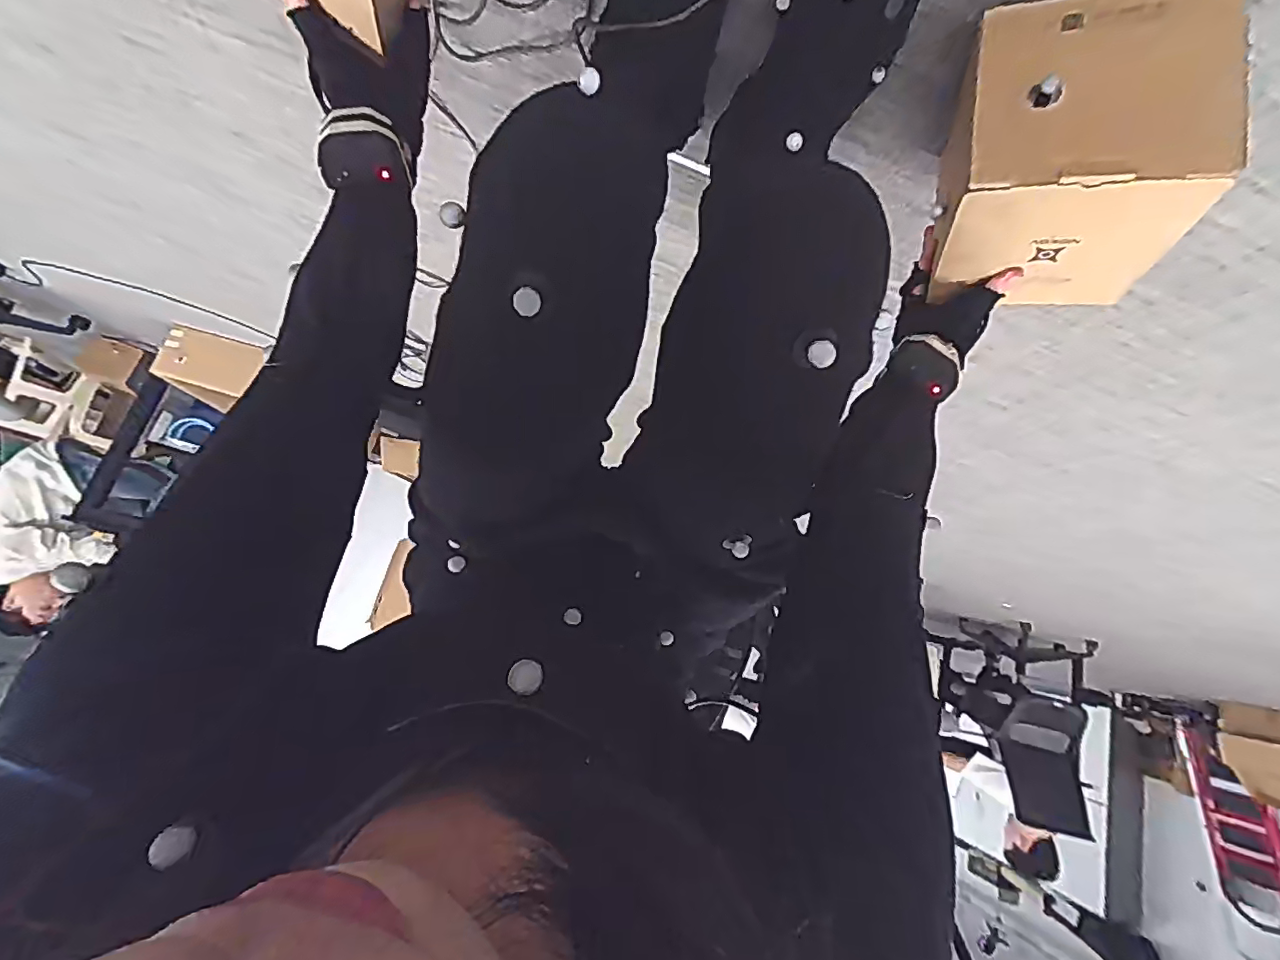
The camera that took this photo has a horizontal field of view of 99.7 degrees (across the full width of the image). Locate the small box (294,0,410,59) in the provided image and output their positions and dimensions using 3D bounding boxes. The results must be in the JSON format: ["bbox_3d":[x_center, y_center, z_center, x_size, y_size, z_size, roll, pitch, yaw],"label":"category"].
[{"bbox_3d":[-0.219,-0.443,0.347,0.168,0.176,0.179,26,-177,-25],"label":"small box"}]

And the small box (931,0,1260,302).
[{"bbox_3d":[0.365,-0.273,0.468,0.168,0.176,0.179,8,172,20],"label":"small box"}]
